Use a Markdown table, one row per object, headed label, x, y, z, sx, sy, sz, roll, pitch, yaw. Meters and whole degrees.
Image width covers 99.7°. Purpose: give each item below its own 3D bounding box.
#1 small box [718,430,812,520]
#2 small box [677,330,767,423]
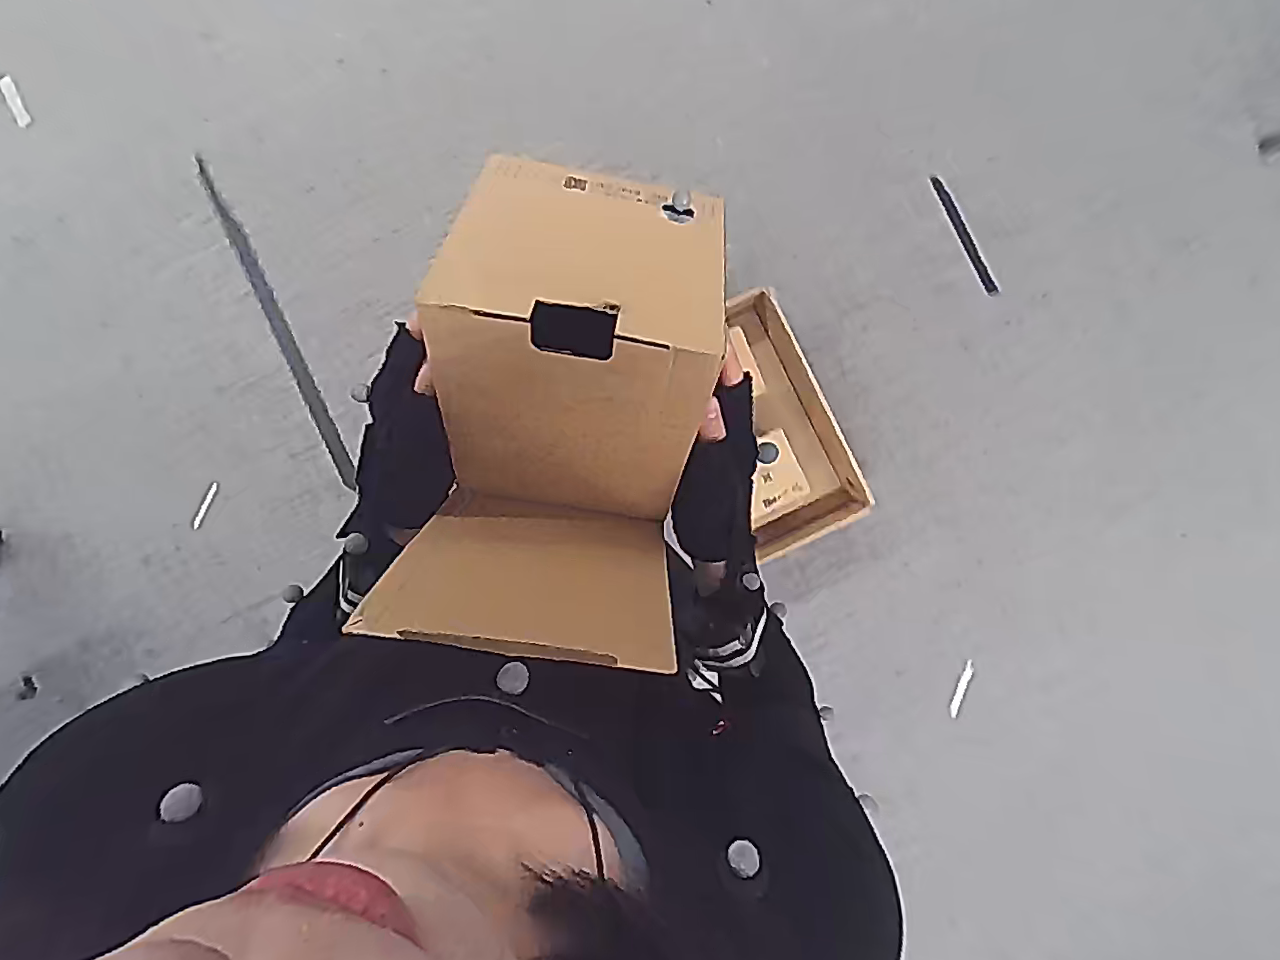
| label | x | y | z | sx | sy | sz | roll | pitch | yaw |
| --- | --- | --- | --- | --- | --- | --- | --- | --- | --- |
| small box | 0.309 | -0.007 | 1.384 | 0.168 | 0.176 | 0.179 | -24 | 87 | 2 |
| small box | 0.203 | -0.254 | 1.383 | 0.168 | 0.176 | 0.179 | -23 | 90 | 1 |
